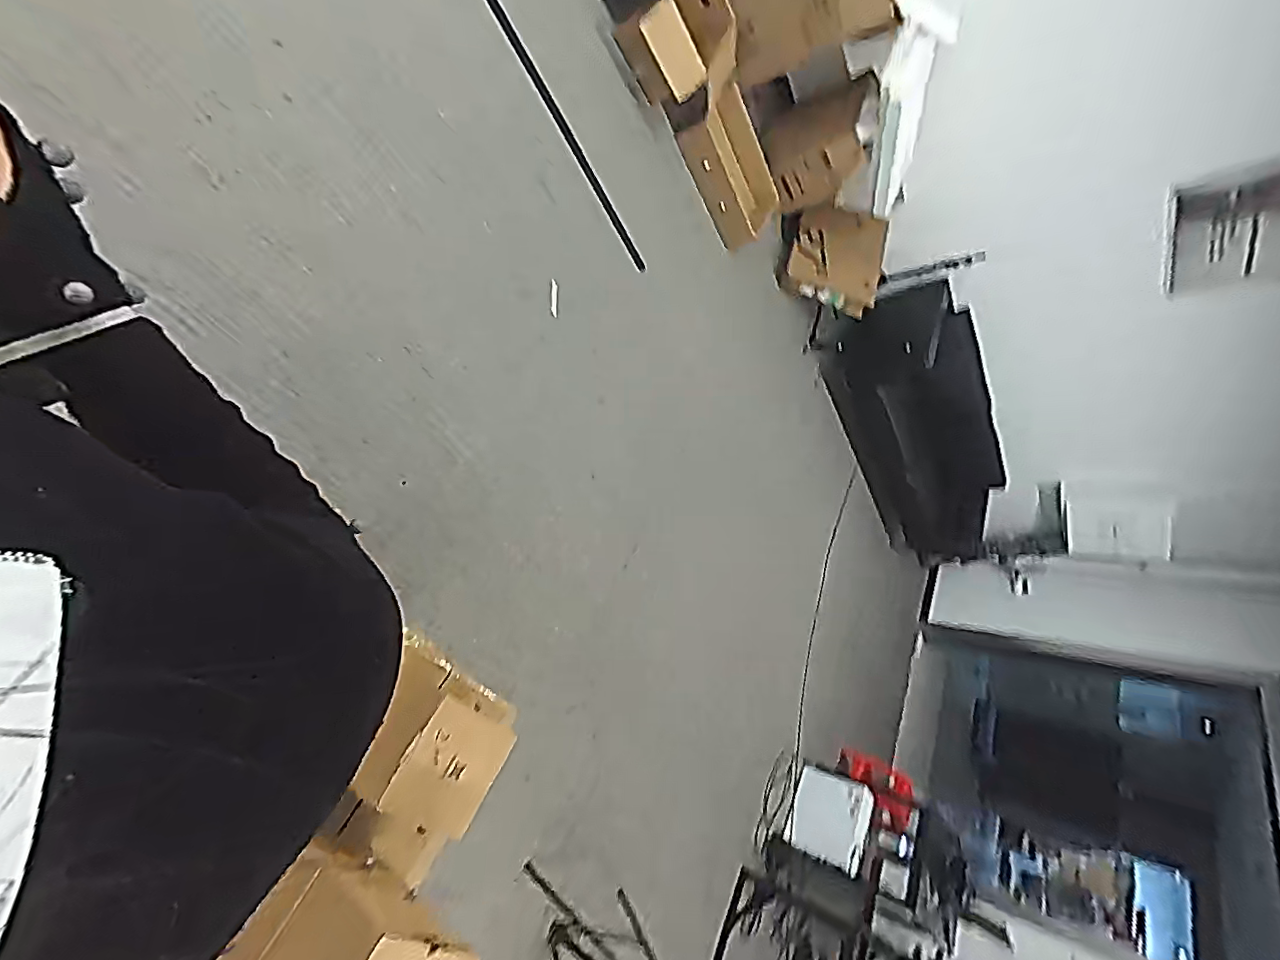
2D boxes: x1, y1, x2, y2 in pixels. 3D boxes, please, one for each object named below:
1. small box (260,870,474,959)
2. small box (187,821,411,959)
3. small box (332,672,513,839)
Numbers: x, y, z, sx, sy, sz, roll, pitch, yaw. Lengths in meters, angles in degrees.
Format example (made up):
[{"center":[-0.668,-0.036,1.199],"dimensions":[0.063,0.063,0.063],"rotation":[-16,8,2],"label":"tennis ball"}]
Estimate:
[{"center":[-0.341,0.604,0.635],"dimensions":[0.168,0.176,0.179],"rotation":[54,51,-33],"label":"small box"},{"center":[-0.465,0.606,0.744],"dimensions":[0.179,0.176,0.168],"rotation":[52,51,-33],"label":"small box"},{"center":[-0.349,0.435,0.873],"dimensions":[0.179,0.176,0.168],"rotation":[52,54,-34],"label":"small box"}]
